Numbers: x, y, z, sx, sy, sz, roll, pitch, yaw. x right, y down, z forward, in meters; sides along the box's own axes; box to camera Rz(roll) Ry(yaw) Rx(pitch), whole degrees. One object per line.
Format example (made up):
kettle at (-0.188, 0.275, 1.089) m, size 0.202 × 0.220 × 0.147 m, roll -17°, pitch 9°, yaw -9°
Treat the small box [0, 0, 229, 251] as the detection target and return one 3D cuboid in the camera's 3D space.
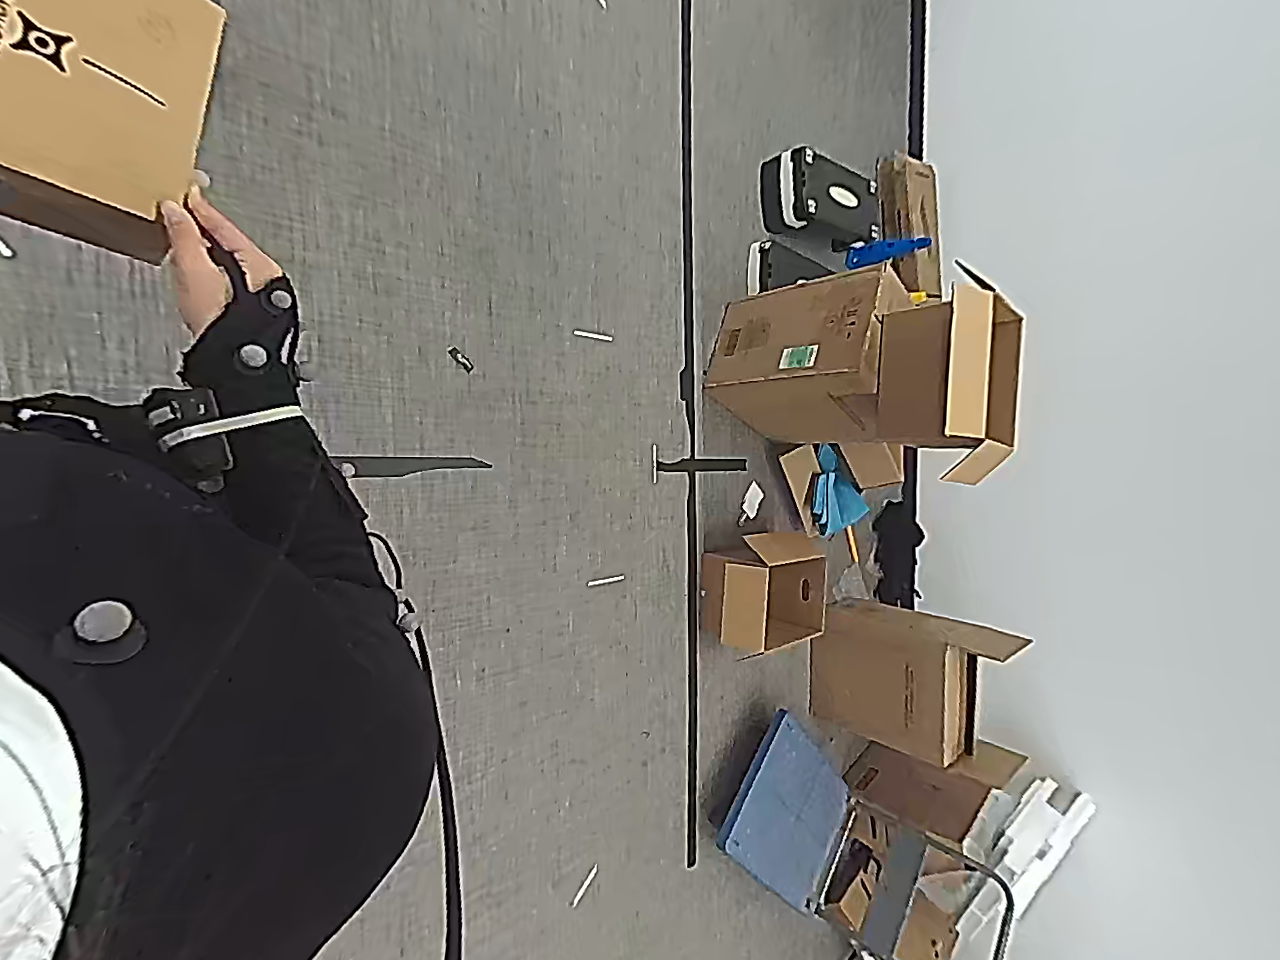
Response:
small box at (-0.430, -0.284, 0.384) m, size 0.179 × 0.176 × 0.168 m, roll 13°, pitch 88°, yaw -47°
